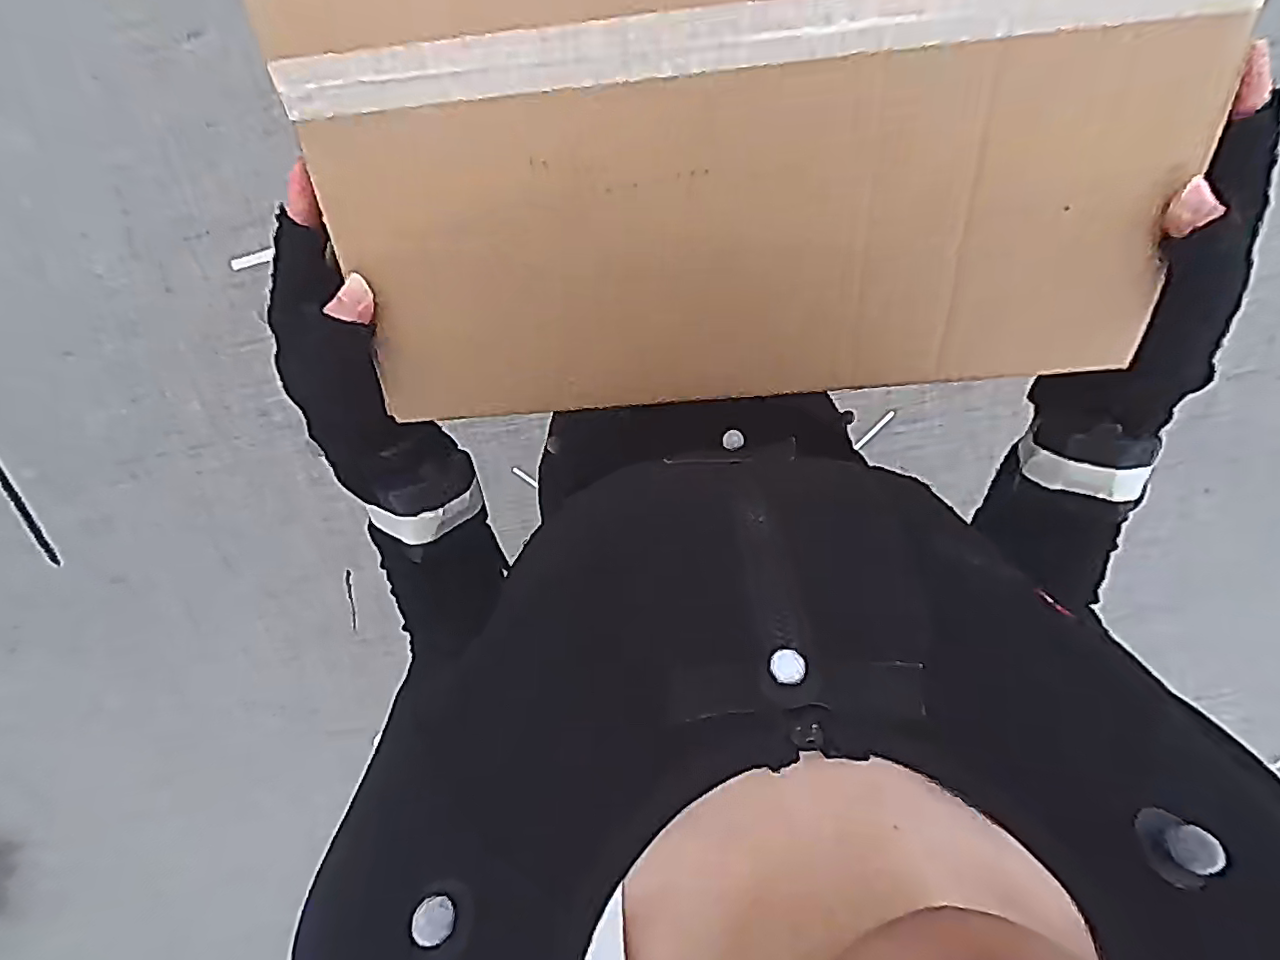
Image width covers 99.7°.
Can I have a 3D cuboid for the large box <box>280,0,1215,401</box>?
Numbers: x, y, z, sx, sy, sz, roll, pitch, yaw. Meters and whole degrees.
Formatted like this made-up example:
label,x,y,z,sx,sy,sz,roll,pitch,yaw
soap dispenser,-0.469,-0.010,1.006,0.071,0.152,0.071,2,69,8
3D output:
label,x,y,z,sx,sy,sz,roll,pitch,yaw
large box,0.044,-0.267,0.367,0.408,0.320,0.320,-4,120,3
